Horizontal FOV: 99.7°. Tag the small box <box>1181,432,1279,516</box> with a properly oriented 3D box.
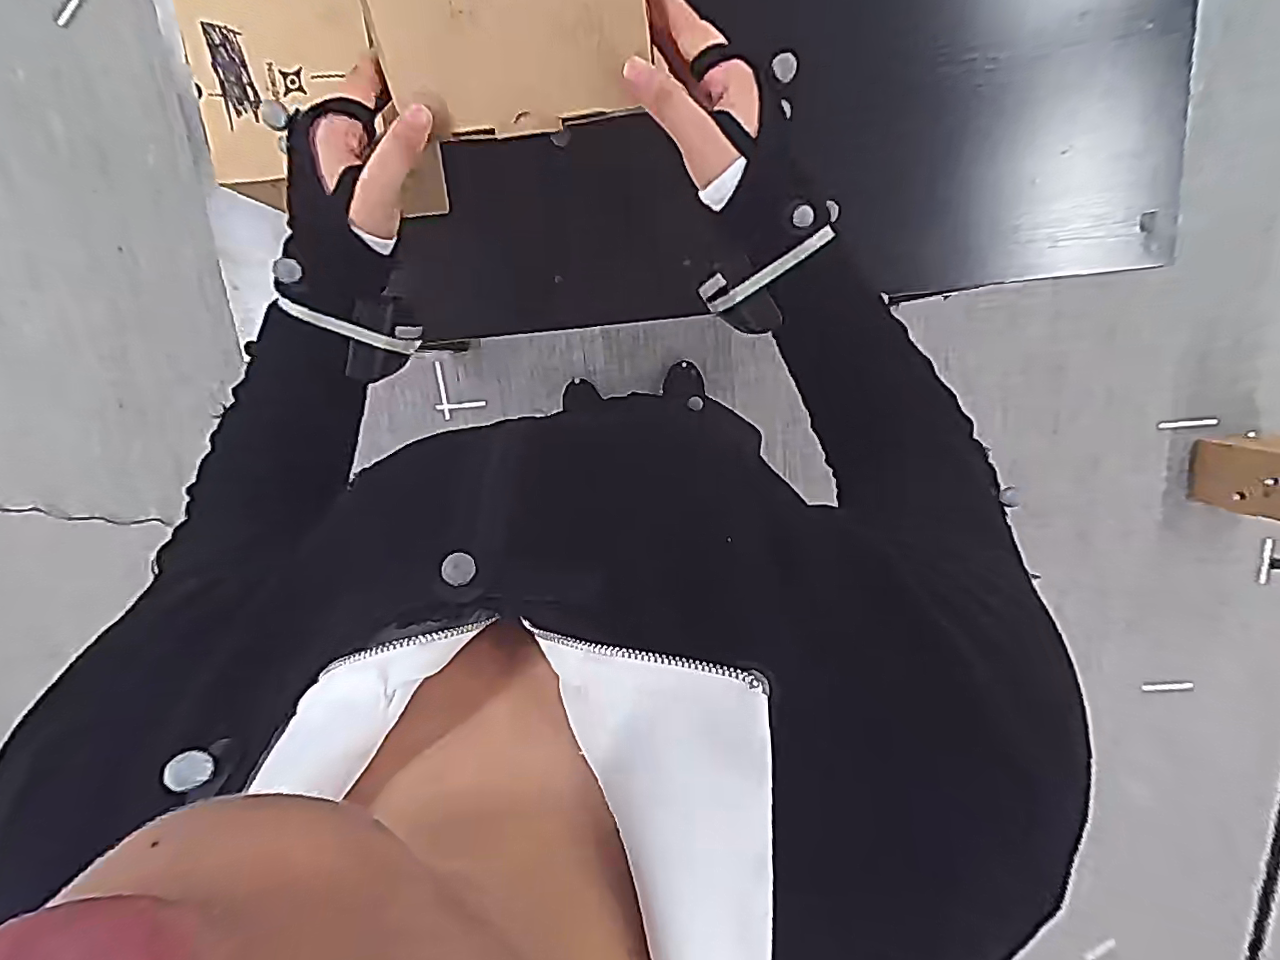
[{"bbox_3d":[1.578,-0.020,1.411,0.168,0.176,0.179,-7,103,2],"label":"small box"}]

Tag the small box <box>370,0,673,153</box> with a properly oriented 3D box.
[{"bbox_3d":[-0.069,-0.339,0.357,0.168,0.176,0.179,-2,129,9],"label":"small box"}]

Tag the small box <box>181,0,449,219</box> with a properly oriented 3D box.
[{"bbox_3d":[-0.331,-0.396,0.588,0.179,0.176,0.168,-5,103,0],"label":"small box"}]

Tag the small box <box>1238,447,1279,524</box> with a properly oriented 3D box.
[{"bbox_3d":[1.571,0.014,1.252,0.179,0.176,0.168,-5,102,3],"label":"small box"}]
